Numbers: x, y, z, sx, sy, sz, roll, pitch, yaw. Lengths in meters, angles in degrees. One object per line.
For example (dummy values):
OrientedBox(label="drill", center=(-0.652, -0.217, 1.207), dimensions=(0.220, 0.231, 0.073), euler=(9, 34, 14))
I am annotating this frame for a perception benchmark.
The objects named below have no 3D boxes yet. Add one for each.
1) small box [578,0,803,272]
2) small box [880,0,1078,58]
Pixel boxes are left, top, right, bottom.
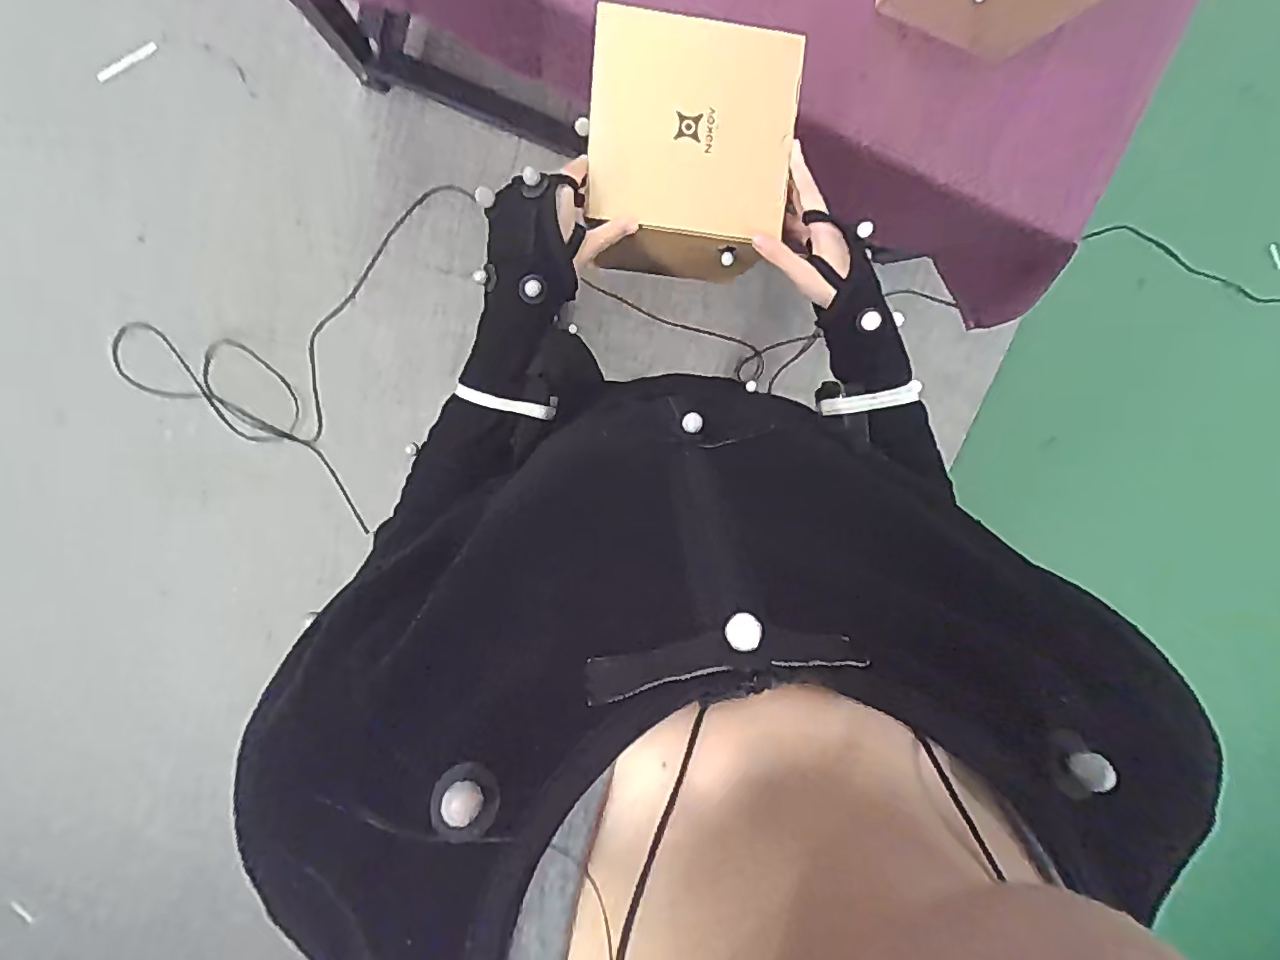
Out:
OrientedBox(label="small box", center=(0.034, -0.313, 0.527), dimensions=(0.179, 0.176, 0.168), euler=(5, 97, -7))
OrientedBox(label="small box", center=(0.382, -0.579, 0.549), dimensions=(0.179, 0.176, 0.168), euler=(14, 103, -10))
